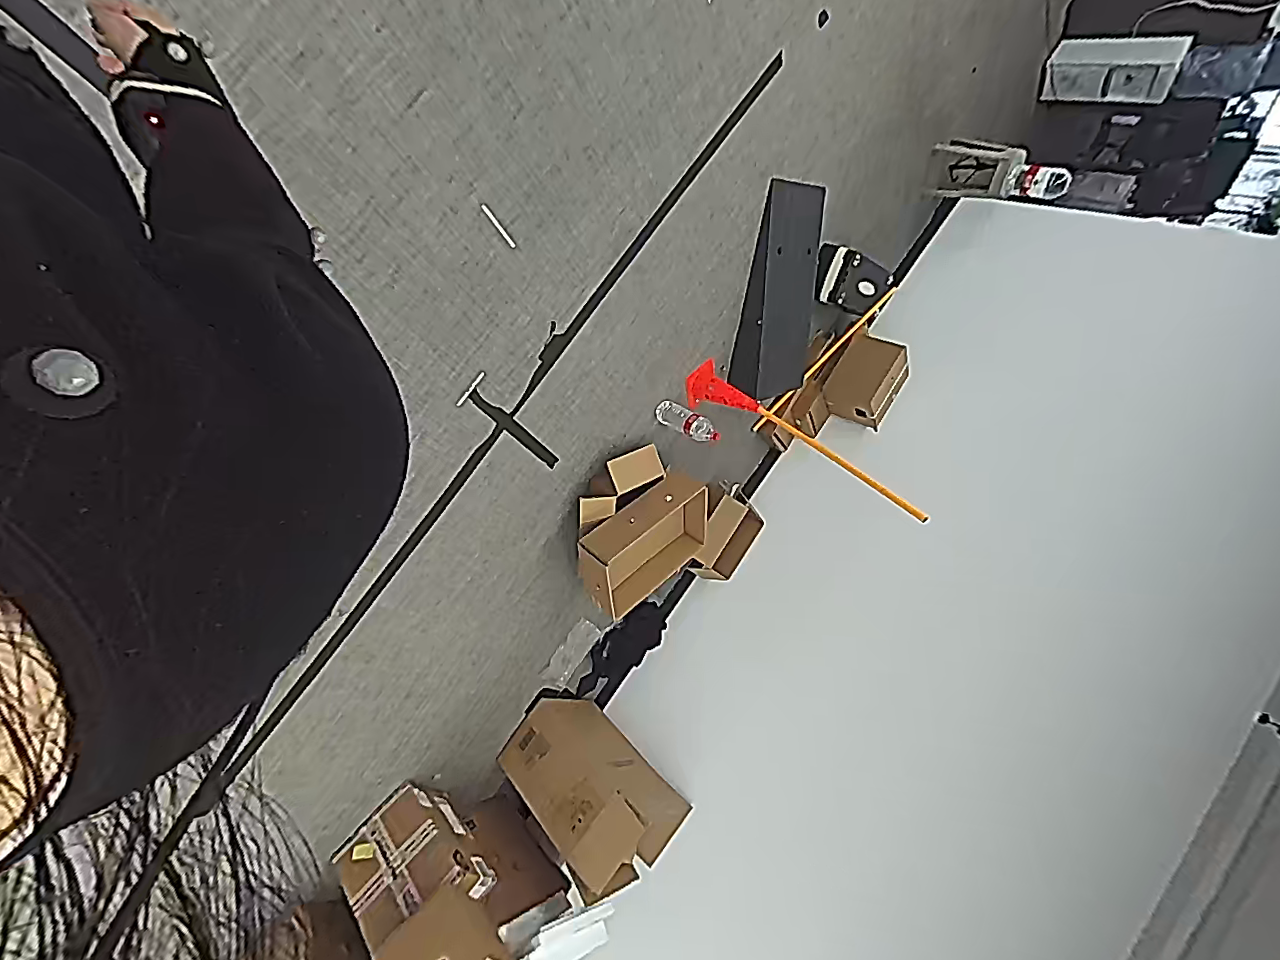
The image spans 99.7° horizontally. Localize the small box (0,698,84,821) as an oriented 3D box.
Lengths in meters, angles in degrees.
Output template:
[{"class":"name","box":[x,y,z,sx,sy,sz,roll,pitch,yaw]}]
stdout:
[{"class":"small box","box":[-1.413,0.632,1.236,0.168,0.176,0.179,-13,127,-45]}]
